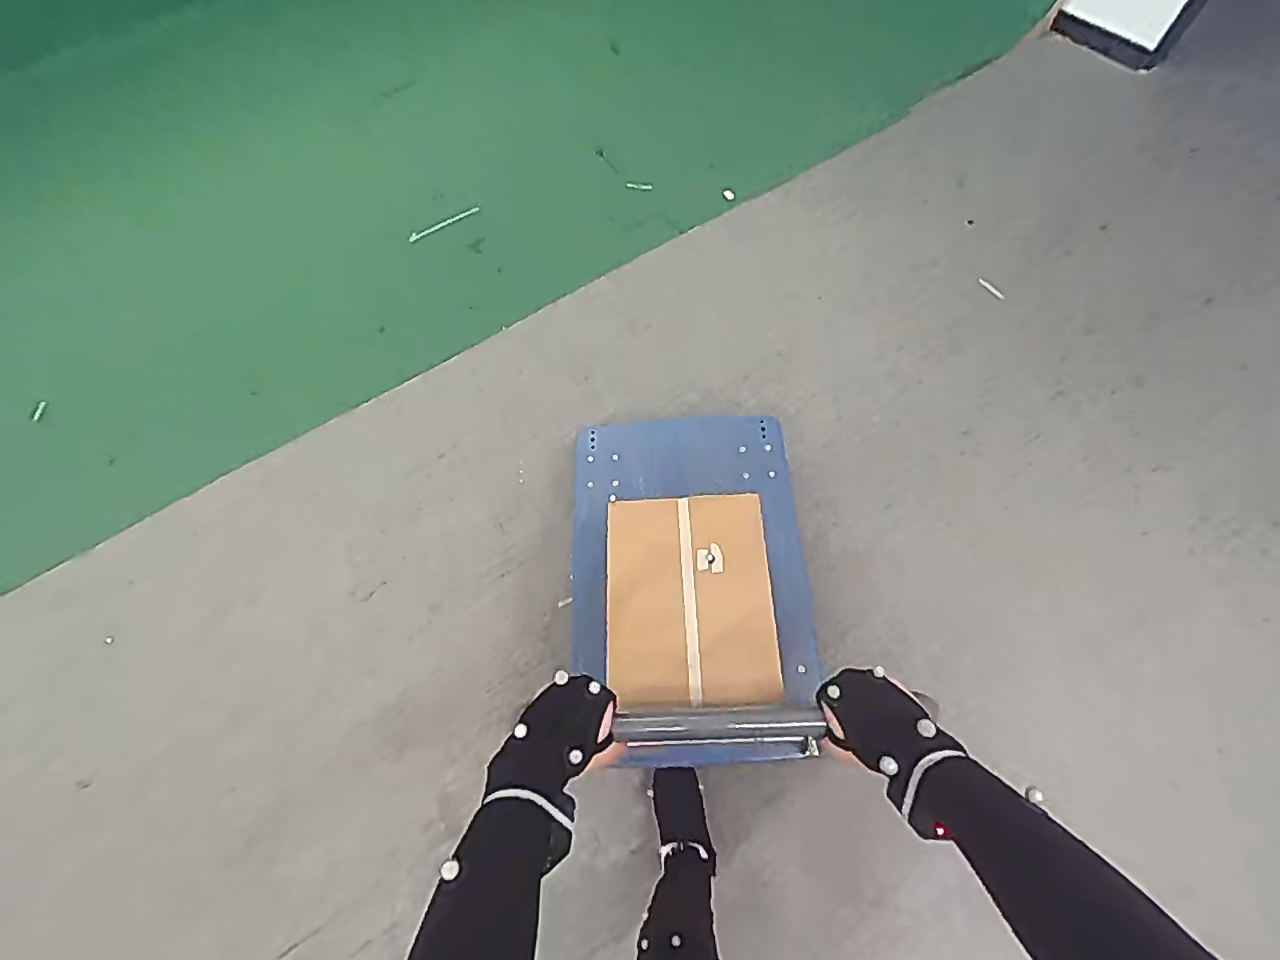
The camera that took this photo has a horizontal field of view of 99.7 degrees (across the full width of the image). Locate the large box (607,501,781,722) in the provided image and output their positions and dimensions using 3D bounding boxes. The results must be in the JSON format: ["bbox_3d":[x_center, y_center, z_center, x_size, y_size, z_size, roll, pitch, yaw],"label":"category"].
[{"bbox_3d":[0.104,0.296,1.181,0.320,0.320,0.408,-3,63,3],"label":"large box"}]
